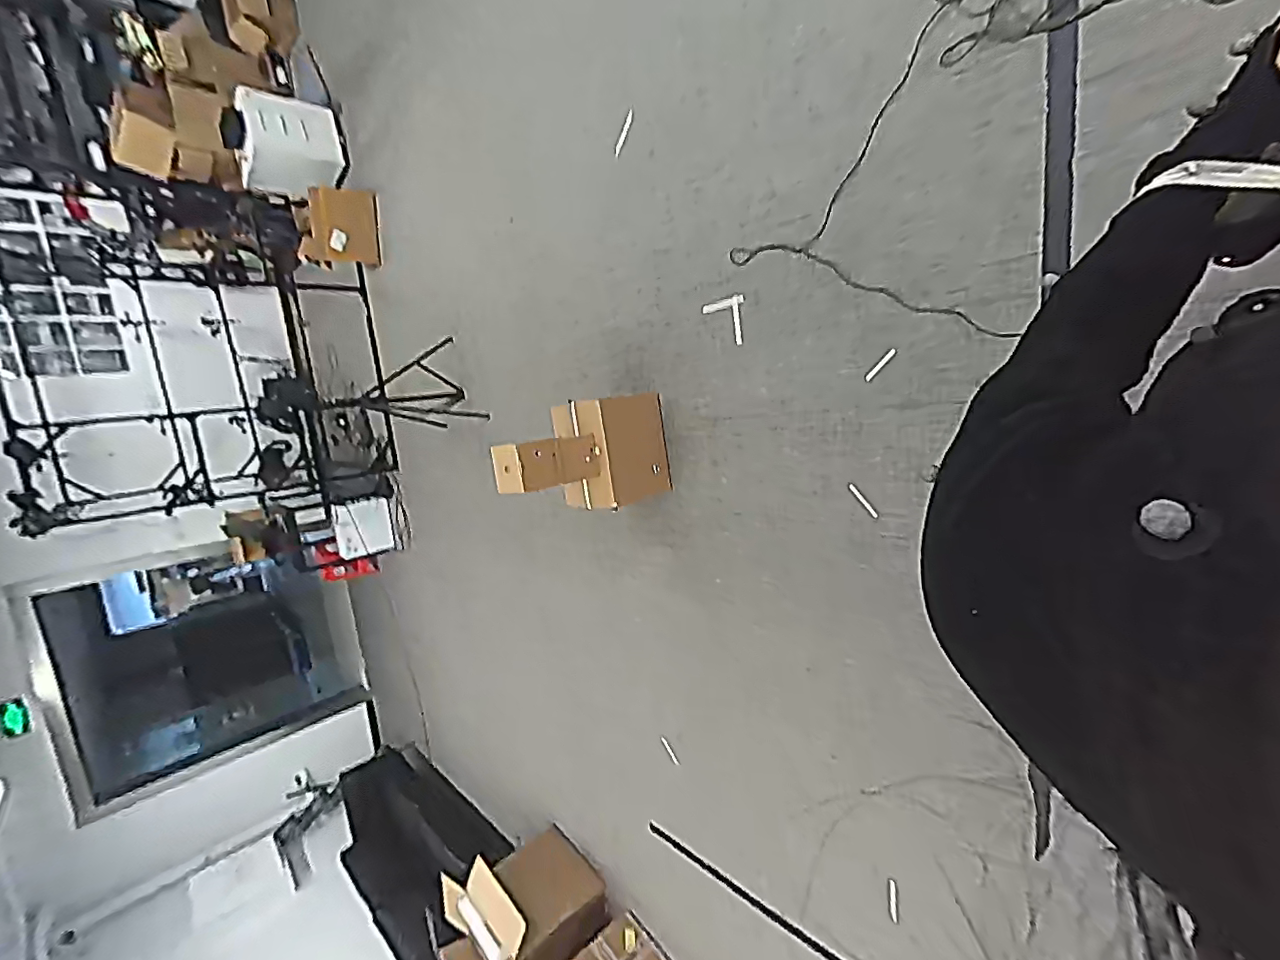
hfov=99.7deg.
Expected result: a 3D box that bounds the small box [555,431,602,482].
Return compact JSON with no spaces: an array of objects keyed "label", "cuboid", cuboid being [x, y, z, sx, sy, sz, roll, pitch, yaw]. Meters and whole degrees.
[{"label":"small box","cuboid":[-0.265,-0.086,1.991,0.179,0.176,0.168,-1,101,46]}]

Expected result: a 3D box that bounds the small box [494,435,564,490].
[{"label":"small box","cuboid":[-0.378,-0.060,1.877,0.179,0.176,0.168,-2,99,48]}]
